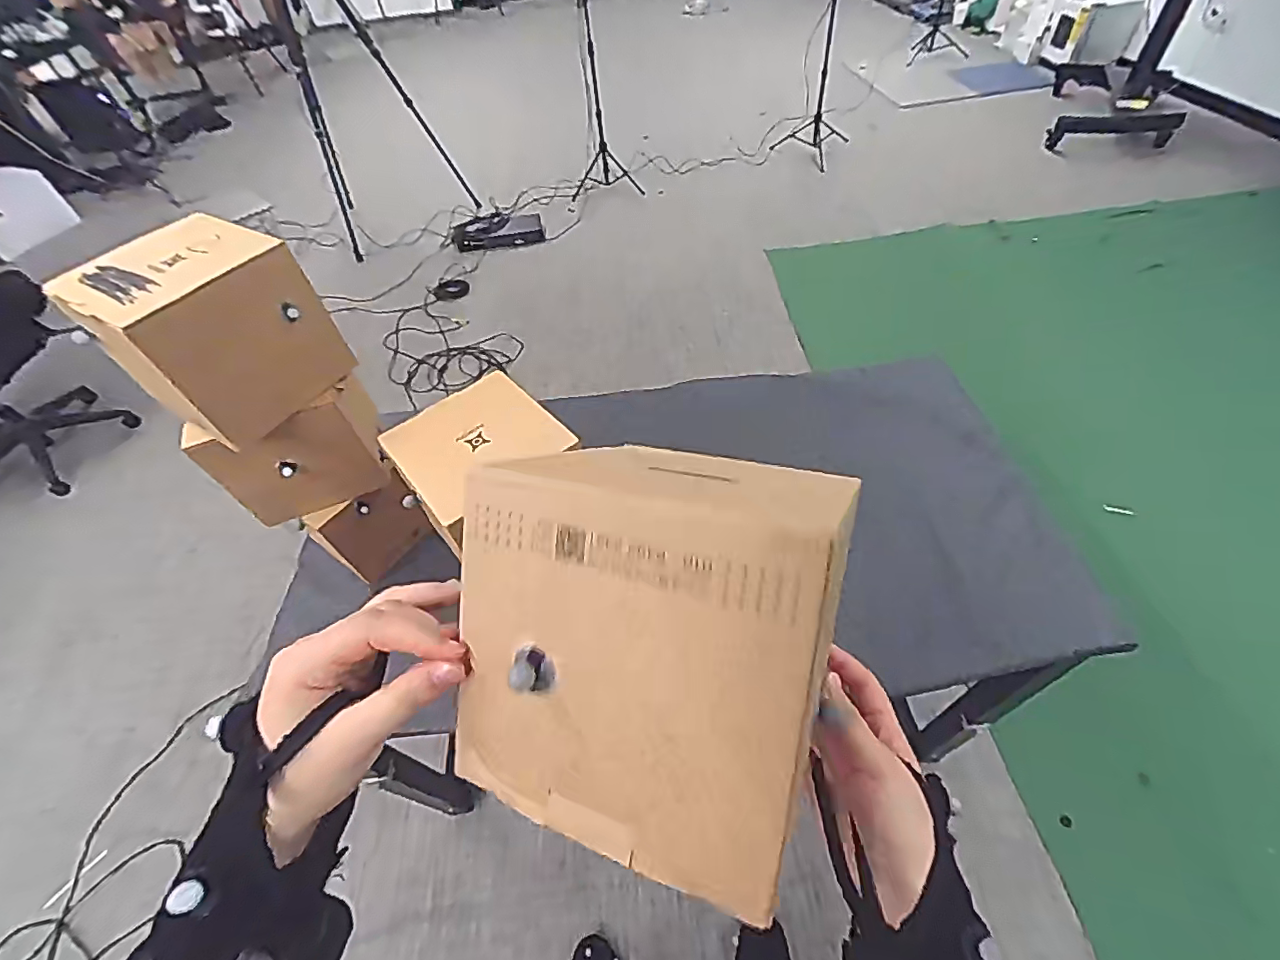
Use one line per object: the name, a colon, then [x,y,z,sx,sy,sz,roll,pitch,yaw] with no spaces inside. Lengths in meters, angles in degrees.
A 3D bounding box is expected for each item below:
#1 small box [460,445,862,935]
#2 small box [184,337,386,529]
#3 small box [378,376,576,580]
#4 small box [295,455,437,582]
small box: [0.020,0.078,0.306,0.168,0.176,0.179,12,15,24]
small box: [-0.474,-0.063,0.752,0.179,0.176,0.168,-22,53,-11]
small box: [-0.174,0.013,0.658,0.168,0.176,0.179,-36,55,-21]
small box: [-0.460,0.038,0.882,0.179,0.176,0.168,27,59,25]
